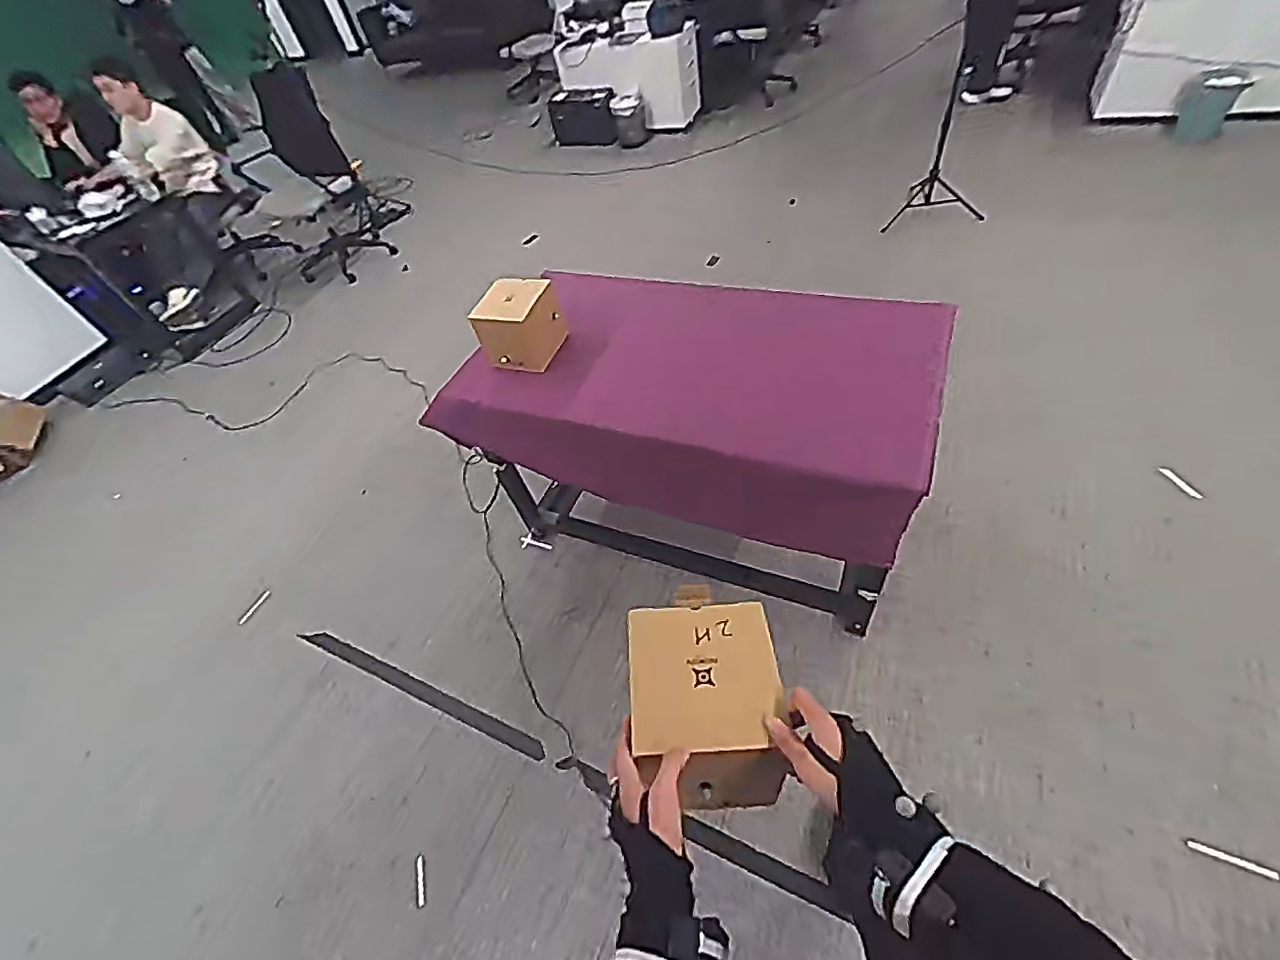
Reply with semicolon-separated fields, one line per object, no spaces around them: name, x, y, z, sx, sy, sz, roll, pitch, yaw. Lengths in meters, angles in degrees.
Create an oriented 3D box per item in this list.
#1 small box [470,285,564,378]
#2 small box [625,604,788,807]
small box;-0.320;-0.401;1.458;0.168;0.176;0.179;10;54;20
small box;0.070;0.276;0.657;0.168;0.176;0.179;-4;40;-1
